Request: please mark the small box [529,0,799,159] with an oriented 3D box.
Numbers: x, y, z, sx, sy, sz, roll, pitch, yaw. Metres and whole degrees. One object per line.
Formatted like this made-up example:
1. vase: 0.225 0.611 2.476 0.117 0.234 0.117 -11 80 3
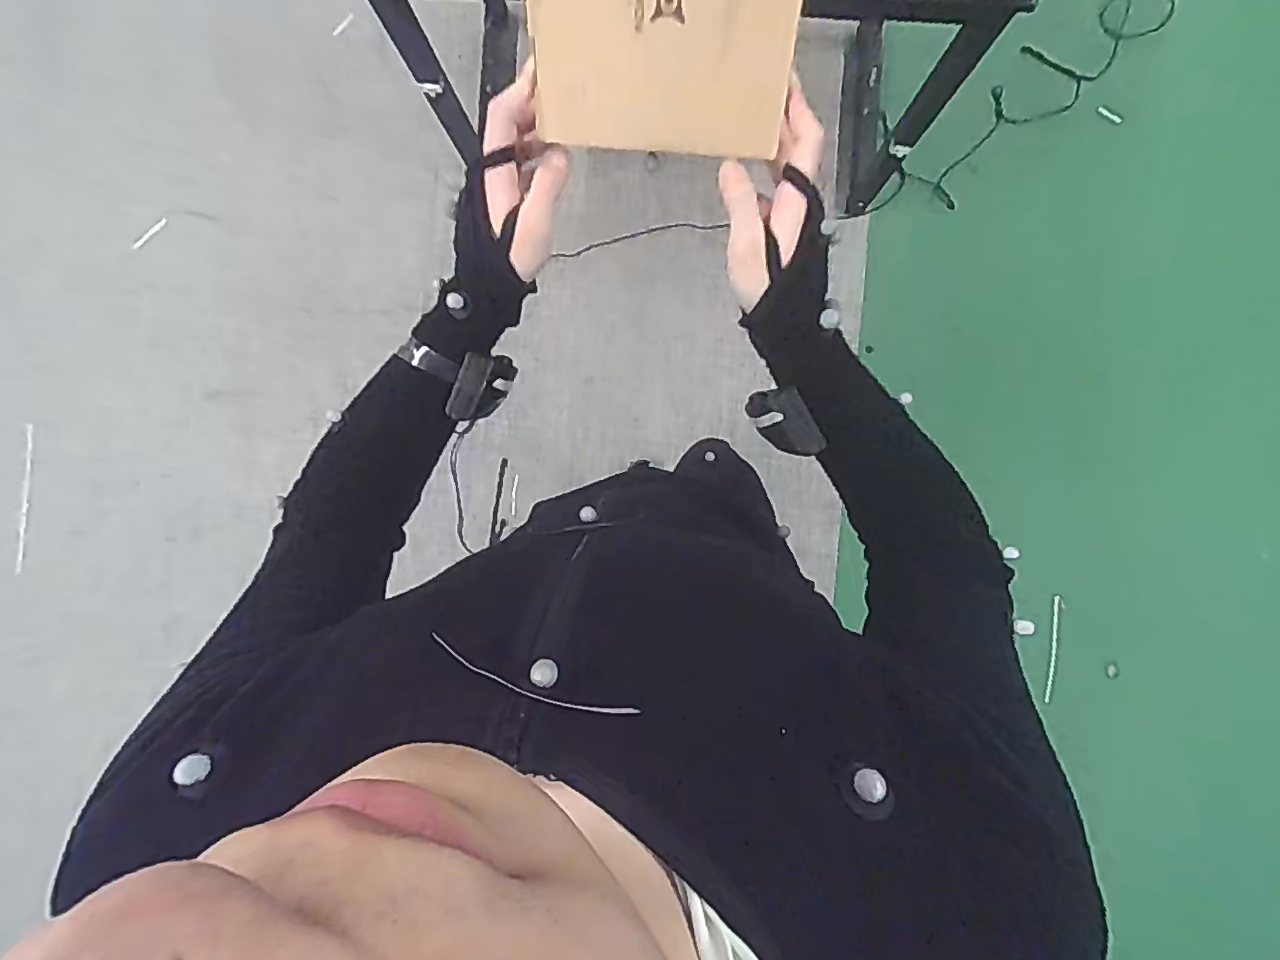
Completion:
1. small box: 0.023 -0.347 0.410 0.179 0.176 0.168 7 123 4
